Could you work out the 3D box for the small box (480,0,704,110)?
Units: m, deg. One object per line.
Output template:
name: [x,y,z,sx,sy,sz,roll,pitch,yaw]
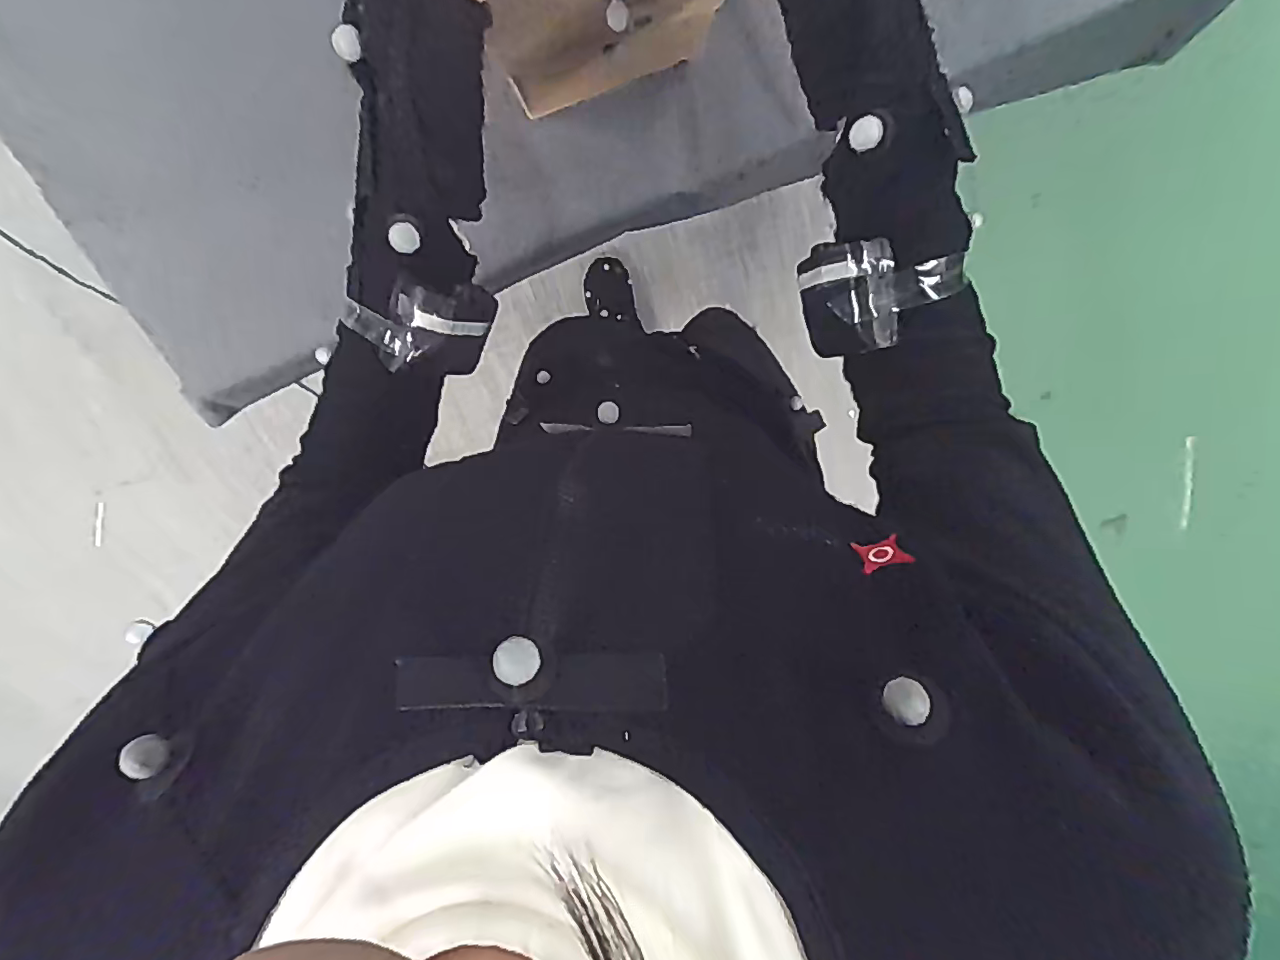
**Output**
small box: [-0.049,-0.434,0.436,0.179,0.176,0.168,-19,113,4]
